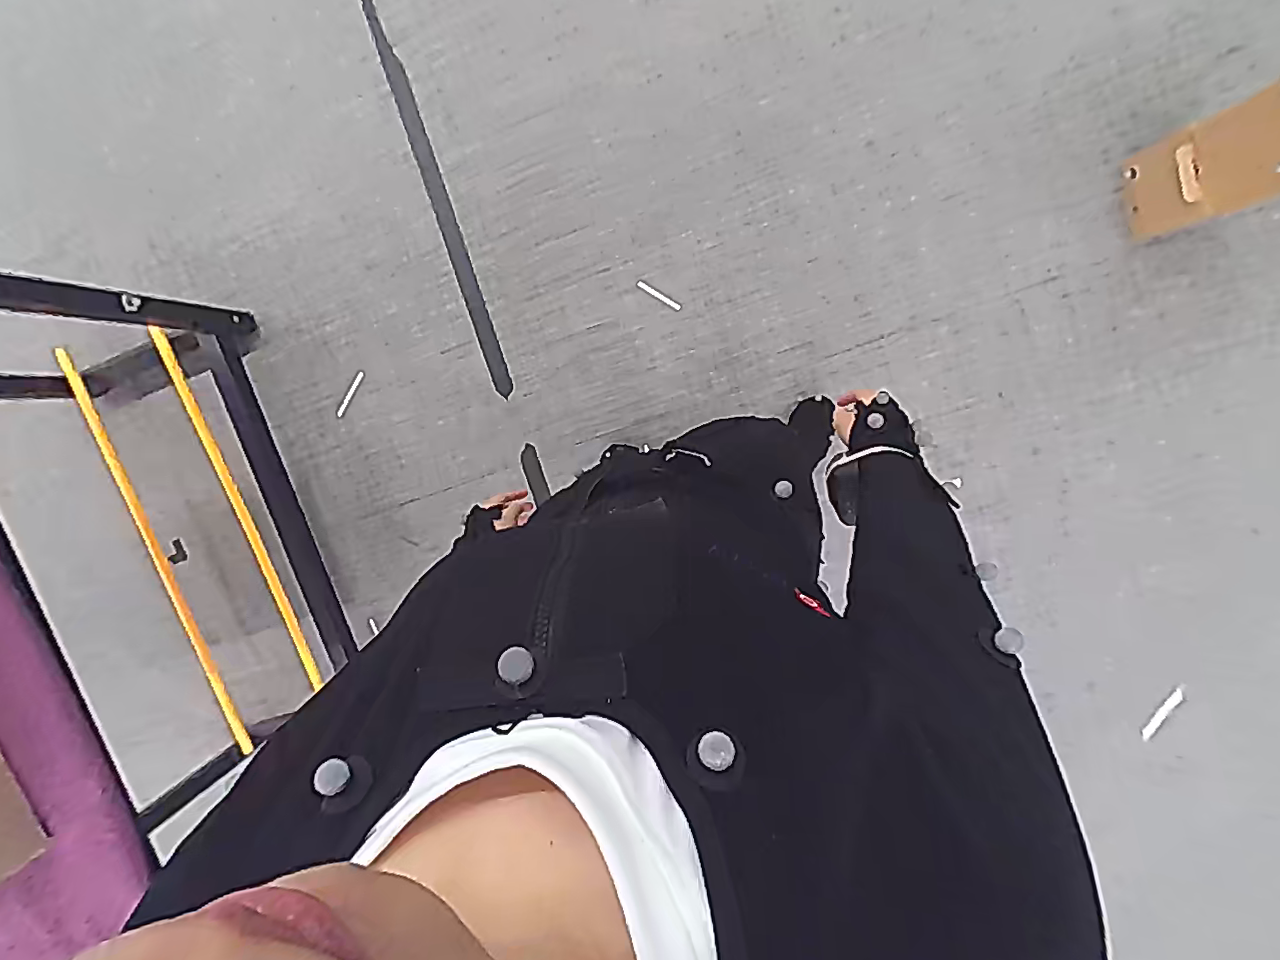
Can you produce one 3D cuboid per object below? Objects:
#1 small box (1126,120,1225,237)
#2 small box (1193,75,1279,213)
[{"bbox_3d":[1.110,-0.605,1.064,0.179,0.176,0.168,-16,97,9],"label":"small box"},{"bbox_3d":[1.097,-0.586,0.903,0.168,0.176,0.179,-23,96,10],"label":"small box"}]
